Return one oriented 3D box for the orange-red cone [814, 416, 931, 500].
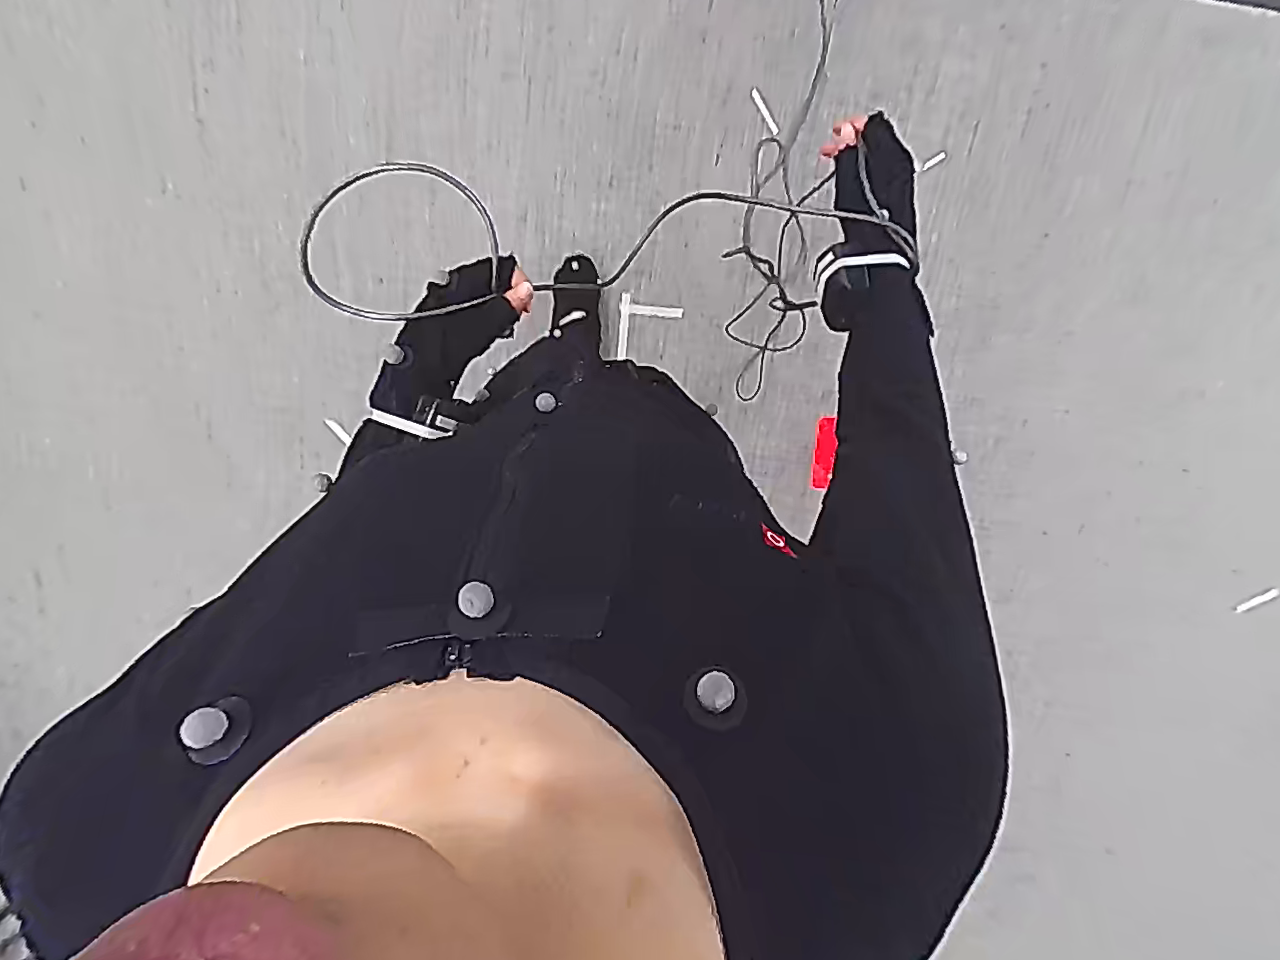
[{"bbox_3d":[0.571,-0.025,1.264,0.199,0.360,0.198,3,105,-2],"label":"orange-red cone"}]
